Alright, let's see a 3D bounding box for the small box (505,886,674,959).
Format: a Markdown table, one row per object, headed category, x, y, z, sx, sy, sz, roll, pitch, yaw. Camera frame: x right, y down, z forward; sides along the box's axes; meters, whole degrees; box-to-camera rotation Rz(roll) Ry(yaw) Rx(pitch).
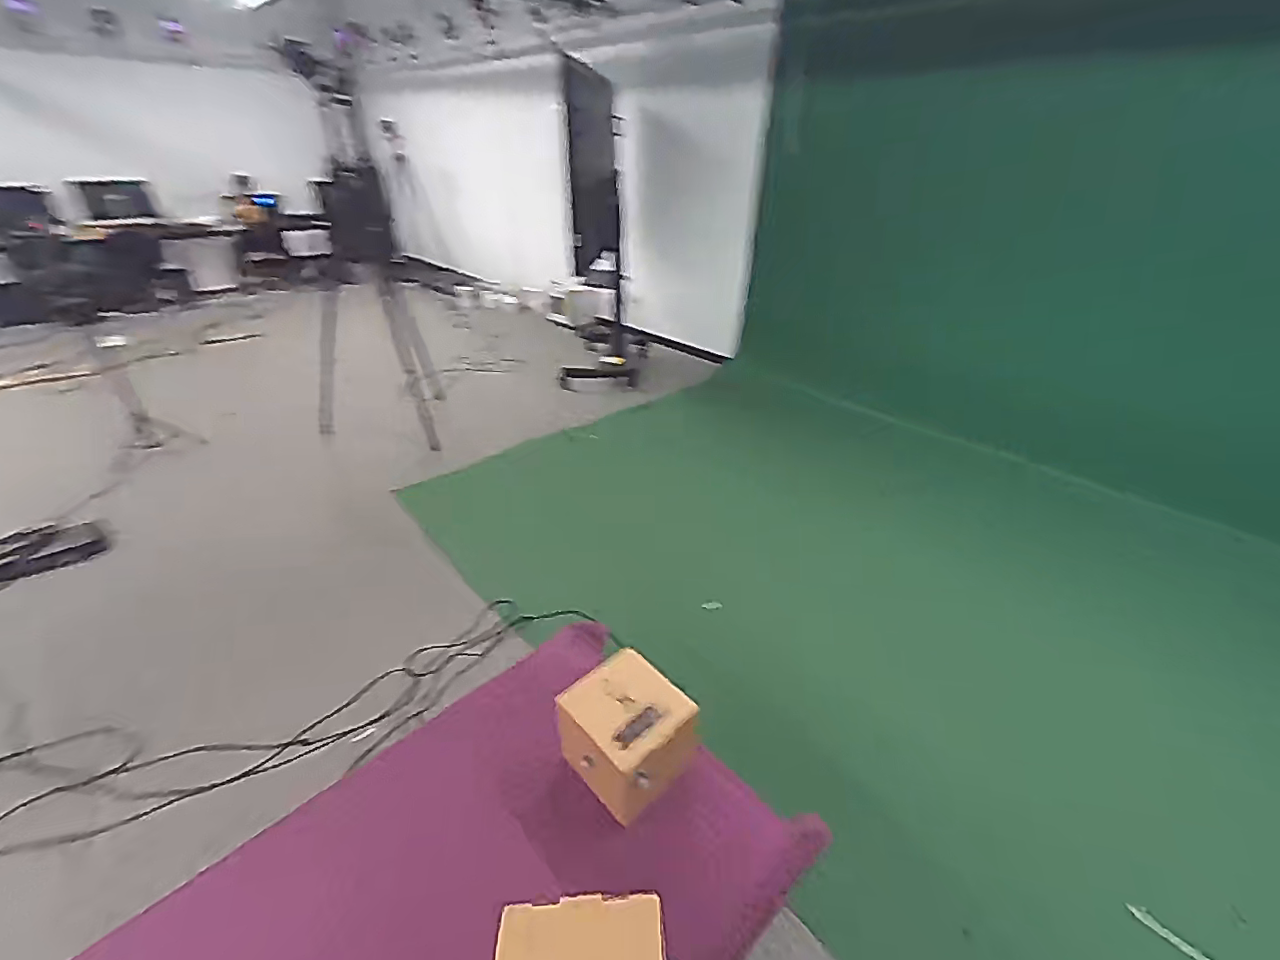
| category | x | y | z | sx | sy | sz | roll | pitch | yaw |
| --- | --- | --- | --- | --- | --- | --- | --- | --- | --- |
| small box | -0.045 | 0.542 | 0.537 | 0.168 | 0.176 | 0.179 | -4 | 33 | 1 |
